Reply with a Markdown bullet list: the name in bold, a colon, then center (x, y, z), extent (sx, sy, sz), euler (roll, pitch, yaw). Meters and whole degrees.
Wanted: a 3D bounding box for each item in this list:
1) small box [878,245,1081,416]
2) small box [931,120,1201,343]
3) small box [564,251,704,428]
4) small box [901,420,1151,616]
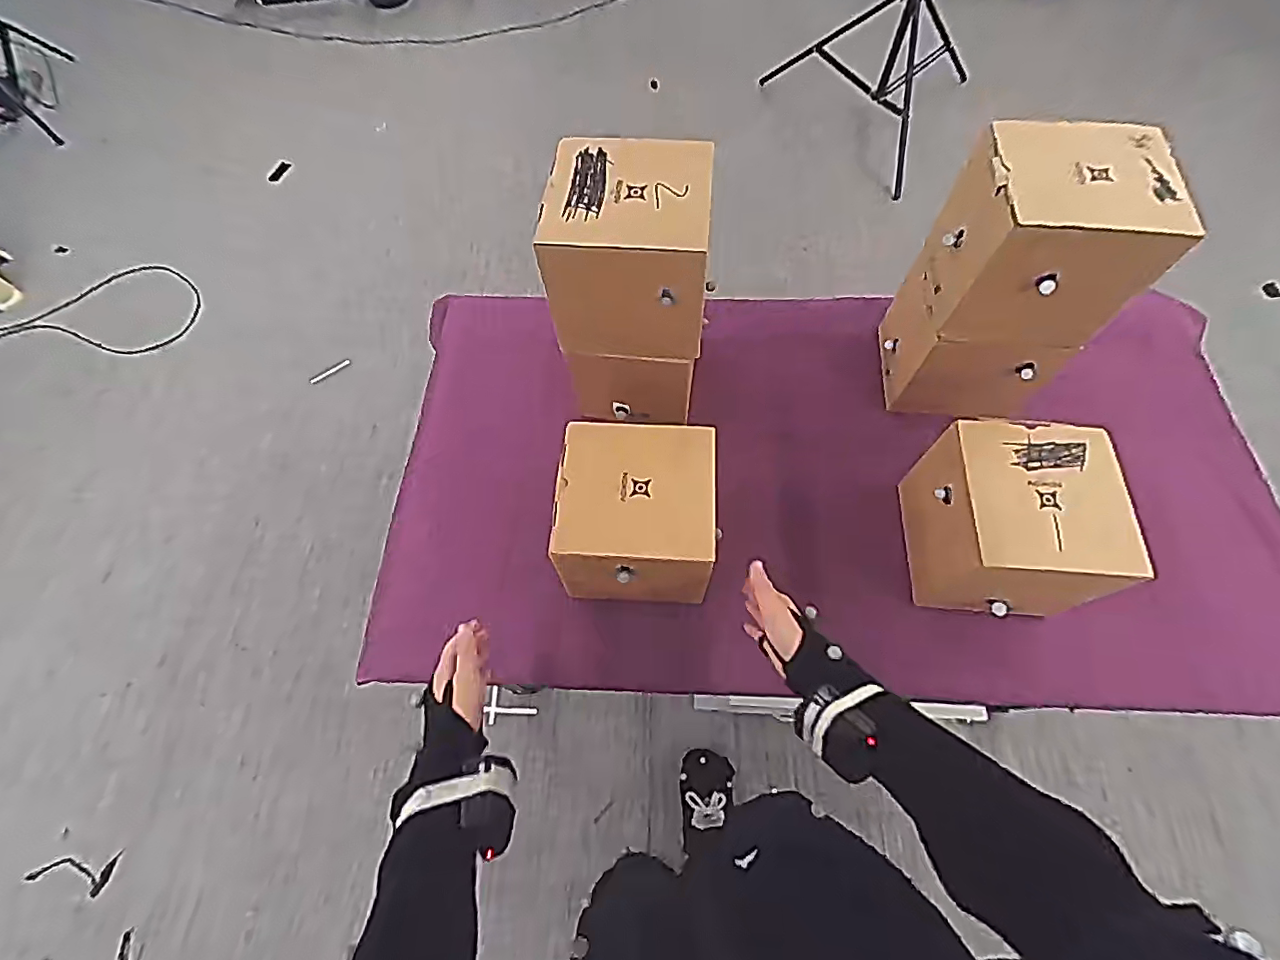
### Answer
- **small box**: center (0.462, -0.205, 0.768), extent (0.179, 0.176, 0.168), euler (4, 65, 5)
- **small box**: center (0.456, -0.276, 0.621), extent (0.179, 0.176, 0.168), euler (5, 66, 5)
- **small box**: center (-0.002, -0.198, 0.782), extent (0.168, 0.176, 0.179), euler (6, 67, 6)
- **small box**: center (0.432, 0.050, 0.645), extent (0.168, 0.176, 0.179), euler (4, 63, 4)
